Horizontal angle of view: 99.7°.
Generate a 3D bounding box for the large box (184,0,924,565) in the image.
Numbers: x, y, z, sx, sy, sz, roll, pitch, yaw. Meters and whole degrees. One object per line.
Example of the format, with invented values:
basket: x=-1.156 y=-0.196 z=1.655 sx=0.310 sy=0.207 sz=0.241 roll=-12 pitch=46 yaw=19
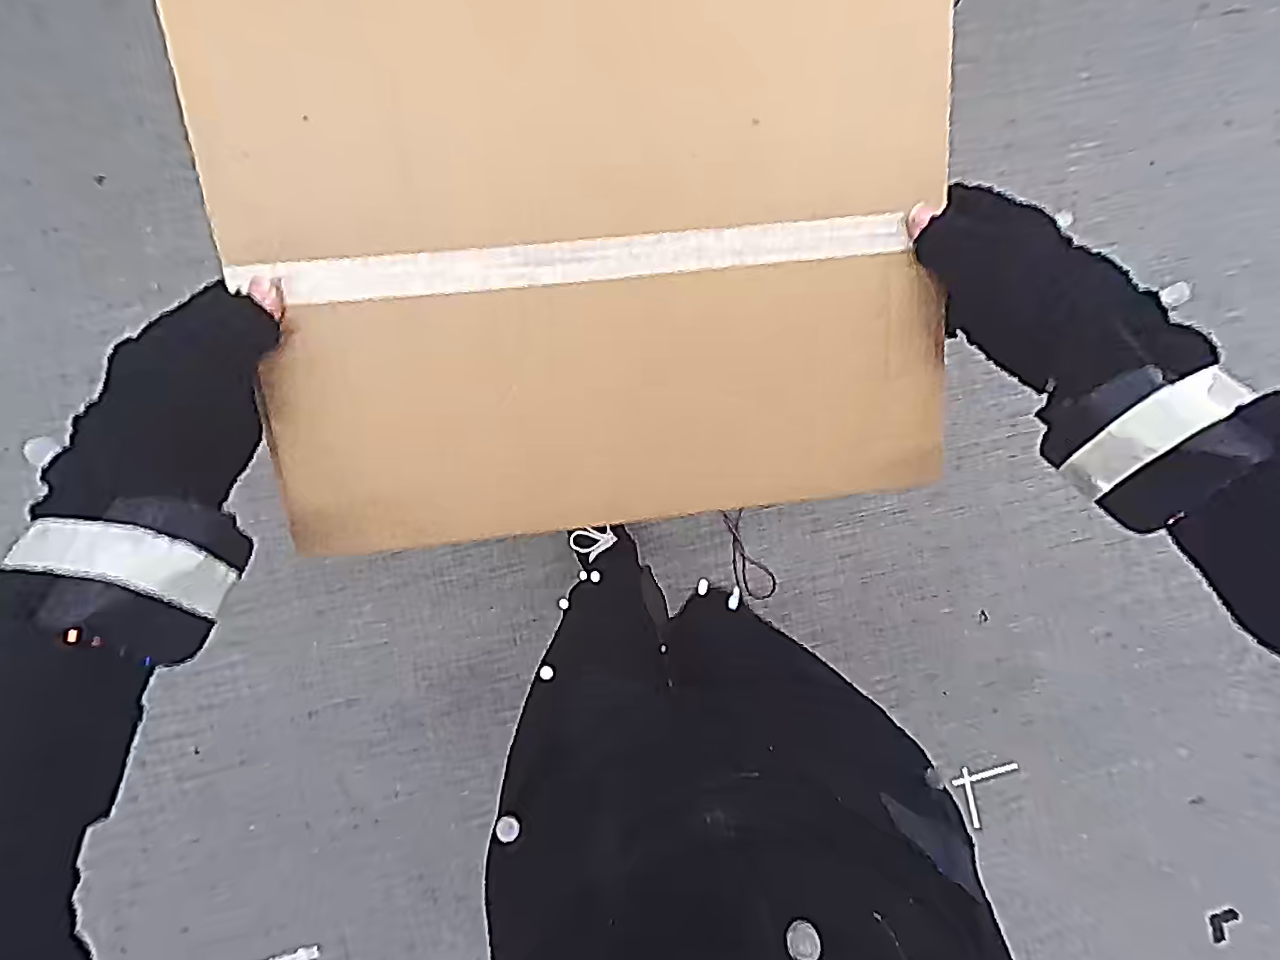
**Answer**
large box: x=-0.035 y=-0.153 z=0.466 sx=0.408 sy=0.320 sz=0.320 roll=-7 pitch=103 yaw=-5
